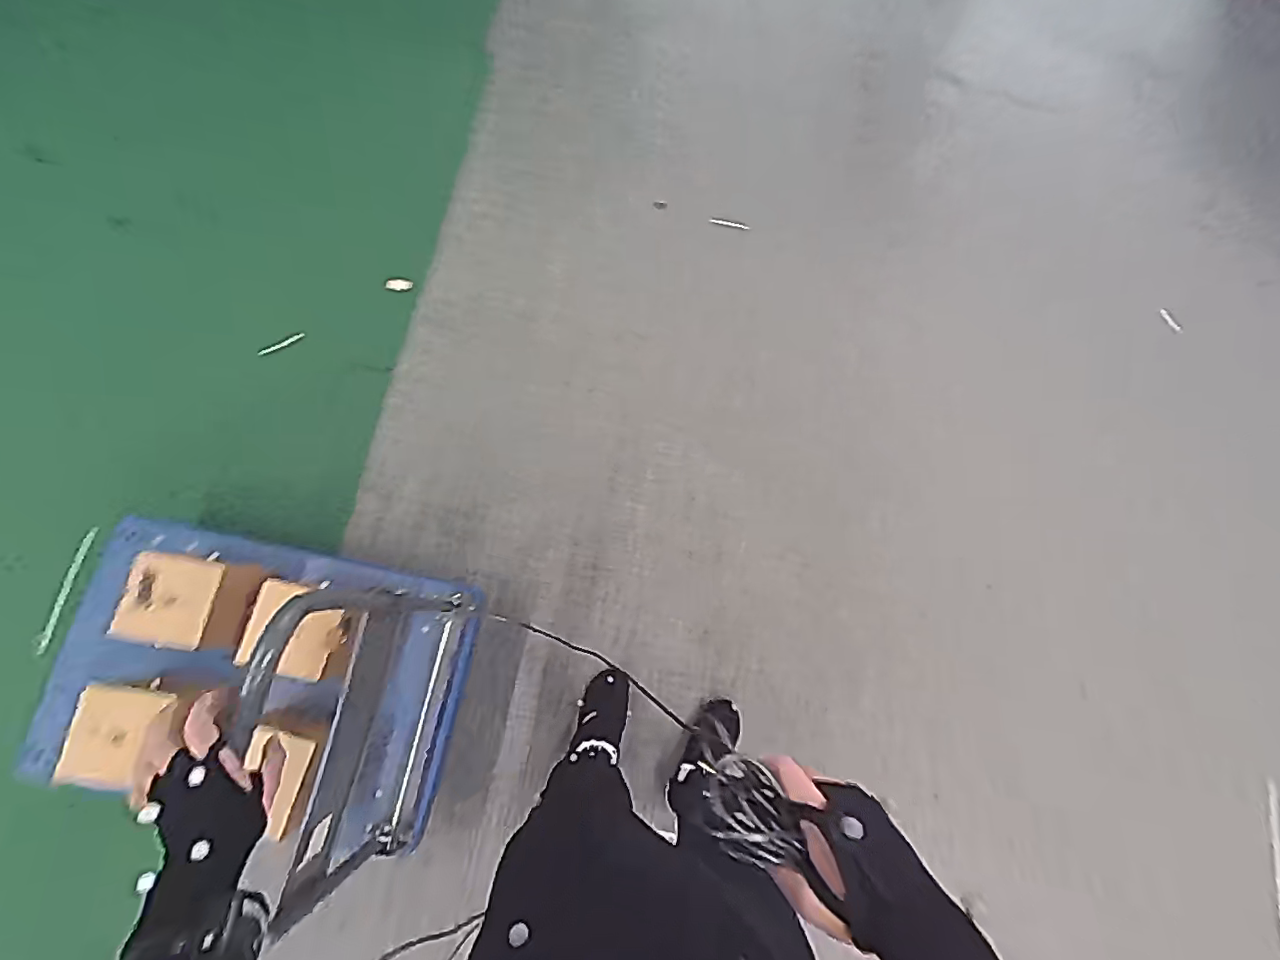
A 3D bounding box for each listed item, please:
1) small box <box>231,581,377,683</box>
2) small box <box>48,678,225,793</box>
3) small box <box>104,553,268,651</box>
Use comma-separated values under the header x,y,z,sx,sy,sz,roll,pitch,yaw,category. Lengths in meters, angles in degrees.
x,y,z,sx,sy,sz,roll,pitch,yaw,category
-0.696,0.316,1.142,0.179,0.176,0.168,14,77,-1,small box
-0.990,0.502,1.084,0.179,0.176,0.168,9,77,-1,small box
-0.944,0.256,1.141,0.179,0.176,0.168,11,78,-2,small box
